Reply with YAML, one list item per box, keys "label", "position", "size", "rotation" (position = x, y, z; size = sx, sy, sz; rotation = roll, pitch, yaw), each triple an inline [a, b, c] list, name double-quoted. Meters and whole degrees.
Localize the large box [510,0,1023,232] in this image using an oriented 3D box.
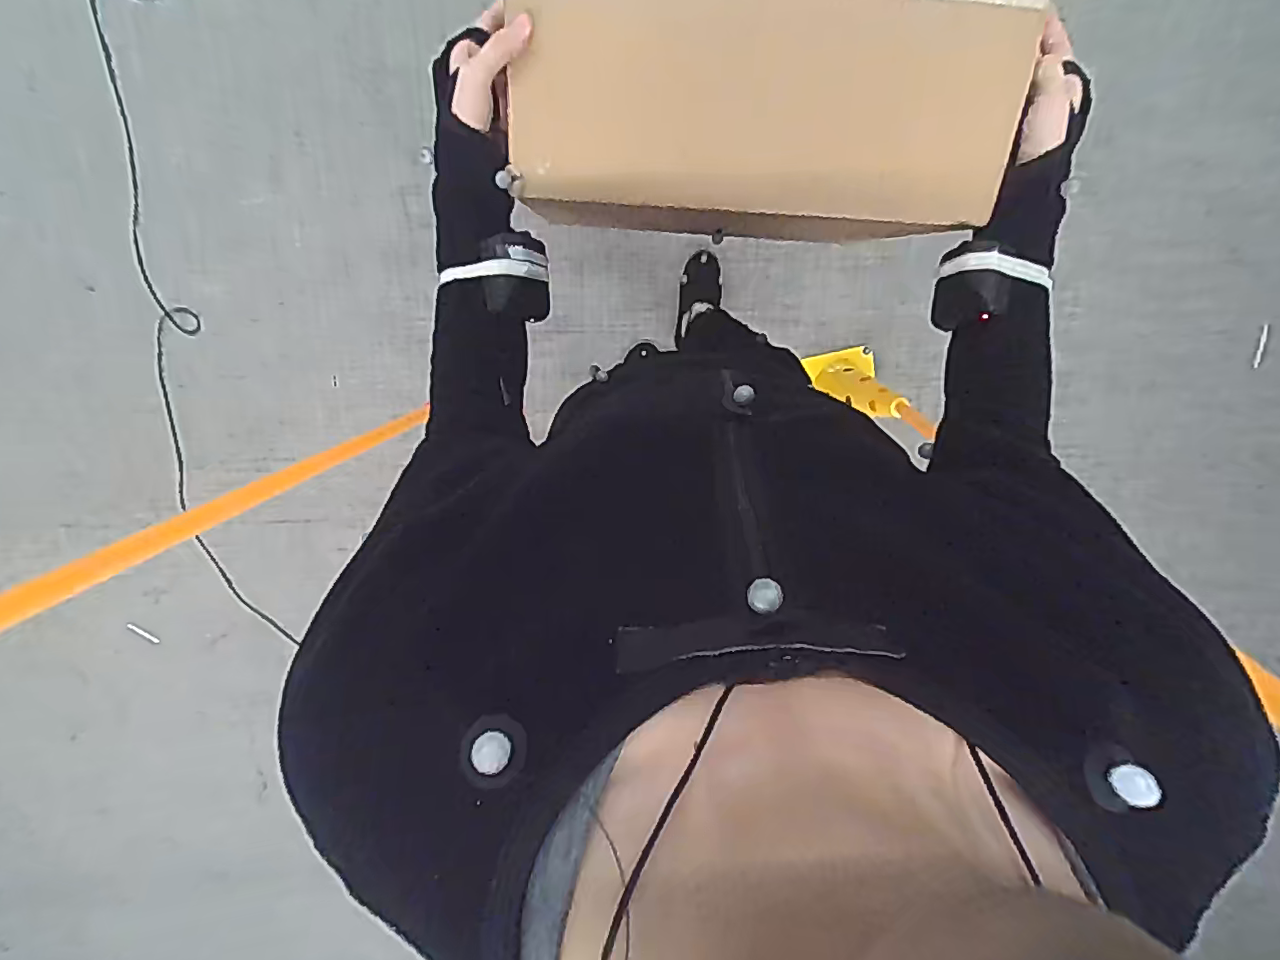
- label: "large box"
  position: [0.095, -0.430, 0.547]
  size: [0.408, 0.320, 0.320]
  rotation: [2, 110, -3]
